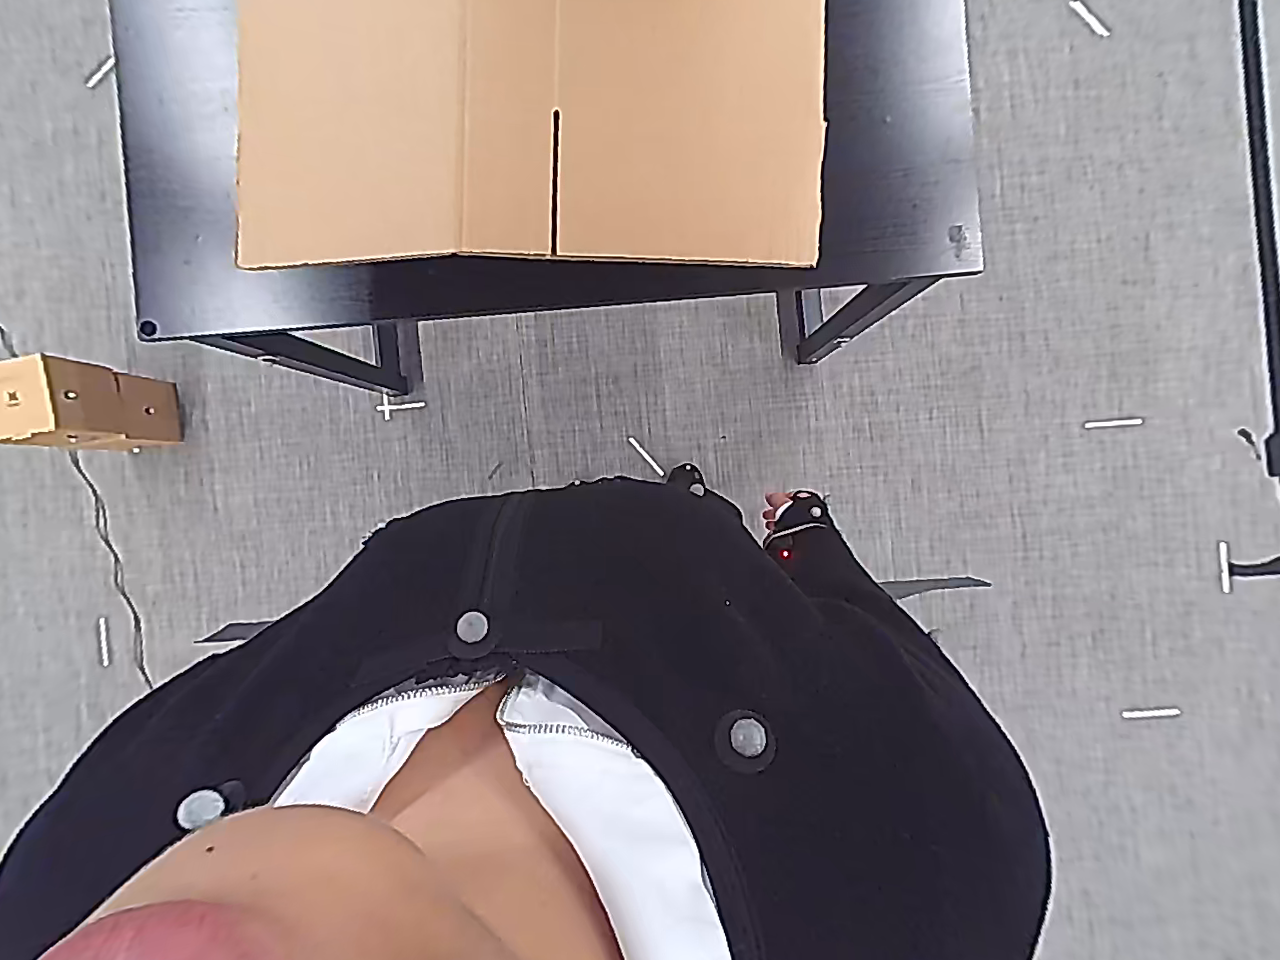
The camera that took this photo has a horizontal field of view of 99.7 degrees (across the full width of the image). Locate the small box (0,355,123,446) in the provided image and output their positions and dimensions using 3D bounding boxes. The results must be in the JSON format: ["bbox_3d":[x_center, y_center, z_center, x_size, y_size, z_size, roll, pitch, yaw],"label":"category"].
[{"bbox_3d":[-1.384,-0.179,1.279,0.168,0.176,0.179,-11,90,0],"label":"small box"}]

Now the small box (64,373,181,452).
[{"bbox_3d":[-1.381,-0.174,1.441,0.168,0.176,0.179,-8,91,1],"label":"small box"}]
